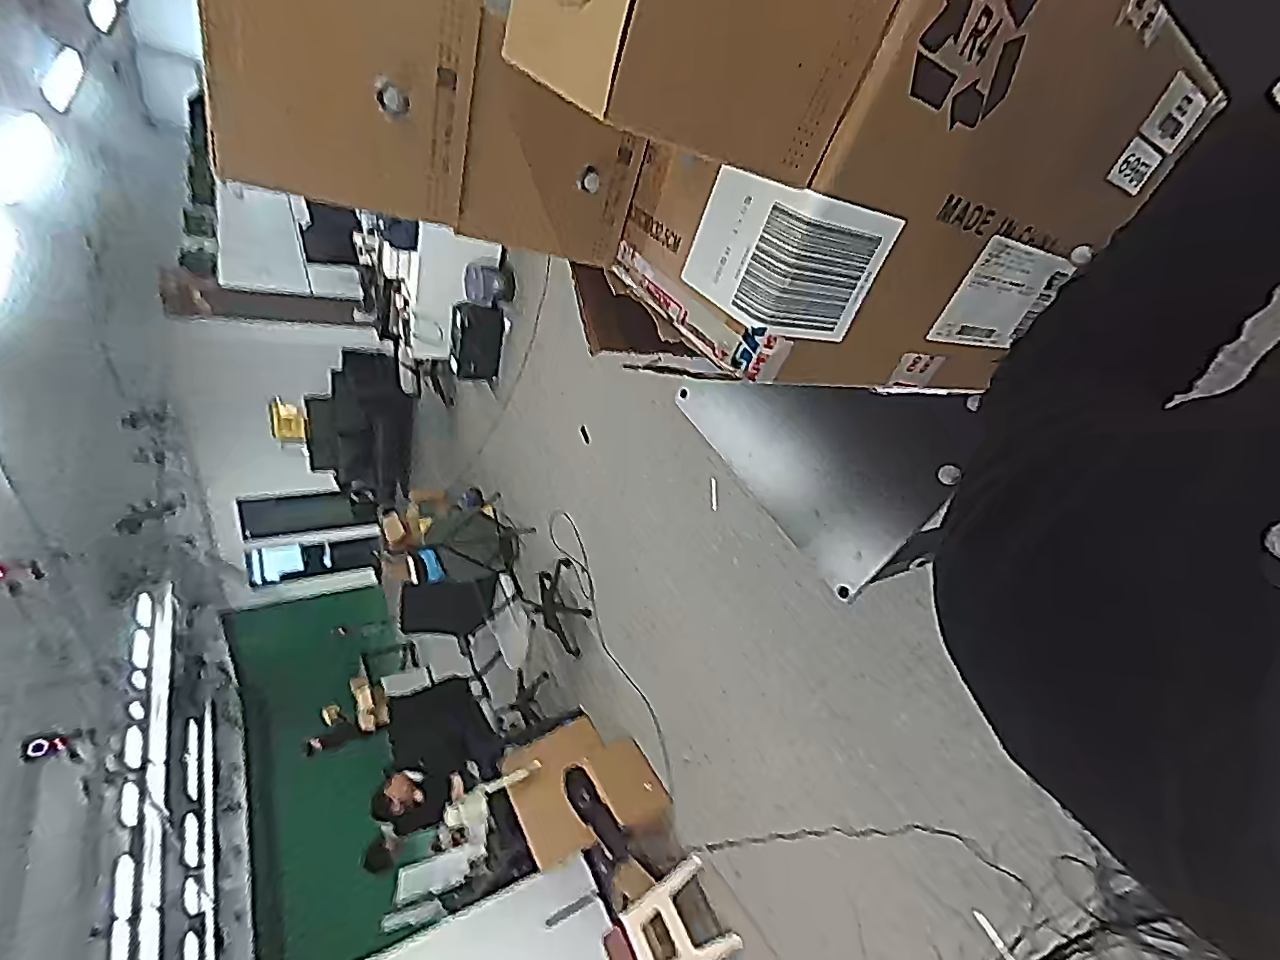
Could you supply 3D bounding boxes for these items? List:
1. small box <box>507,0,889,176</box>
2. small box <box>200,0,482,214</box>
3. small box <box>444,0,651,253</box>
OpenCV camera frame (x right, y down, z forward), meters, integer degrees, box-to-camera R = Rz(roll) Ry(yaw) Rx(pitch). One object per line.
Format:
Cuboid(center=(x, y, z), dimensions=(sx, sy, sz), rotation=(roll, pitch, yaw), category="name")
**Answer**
Cuboid(center=(0.040, -0.317, 0.328), dimensions=(0.168, 0.176, 0.179), rotation=(55, 137, 36), category="small box")
Cuboid(center=(-0.242, -0.335, 0.439), dimensions=(0.179, 0.176, 0.168), rotation=(51, 134, 41), category="small box")
Cuboid(center=(-0.110, -0.344, 0.539), dimensions=(0.179, 0.176, 0.168), rotation=(52, 134, 39), category="small box")
